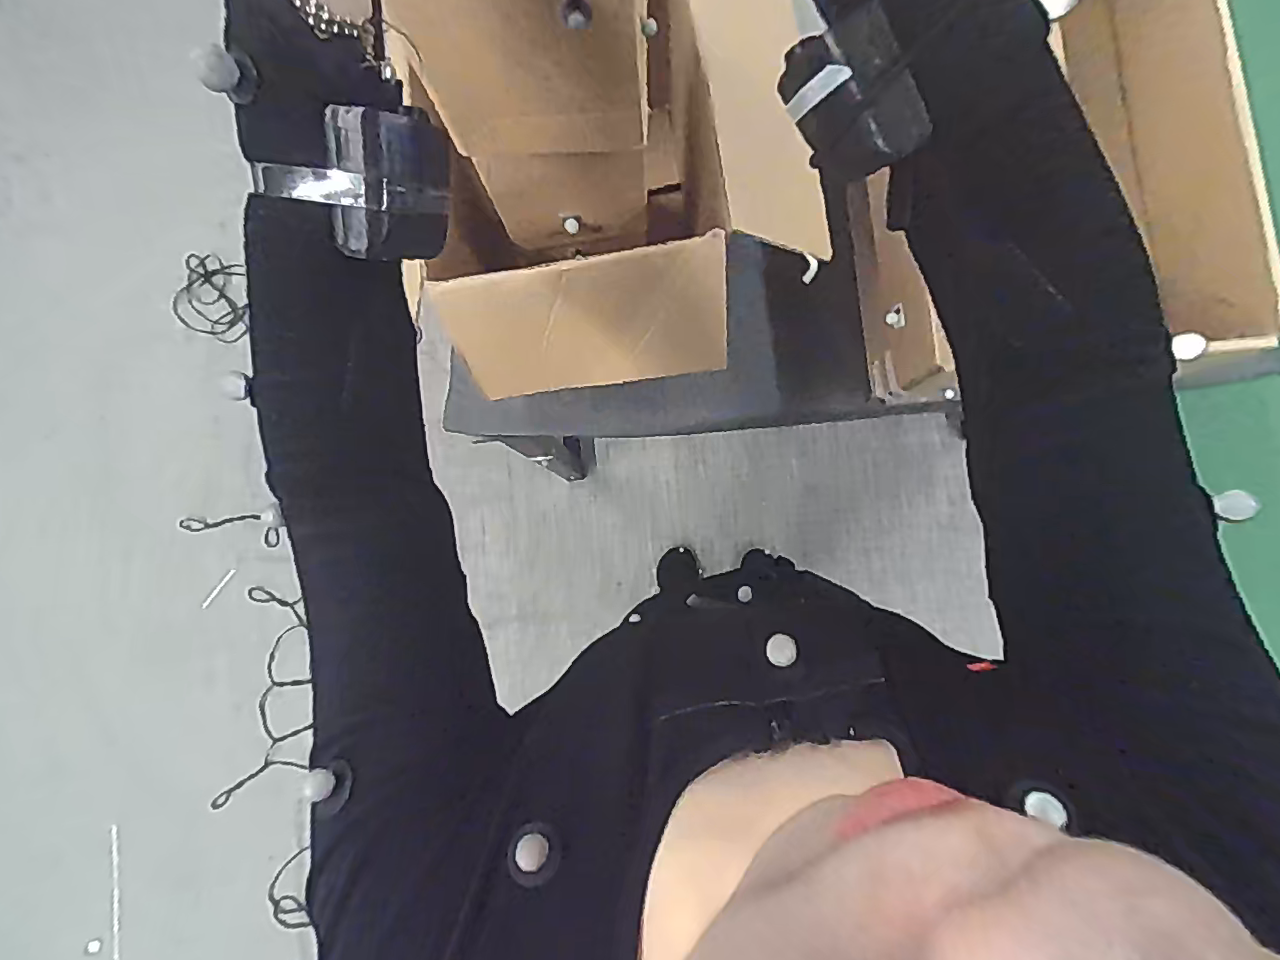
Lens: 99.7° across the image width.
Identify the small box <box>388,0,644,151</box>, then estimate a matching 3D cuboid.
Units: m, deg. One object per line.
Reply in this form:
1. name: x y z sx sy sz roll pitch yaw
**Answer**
1. small box: -0.088 -0.392 0.429 0.179 0.176 0.168 0 84 2
